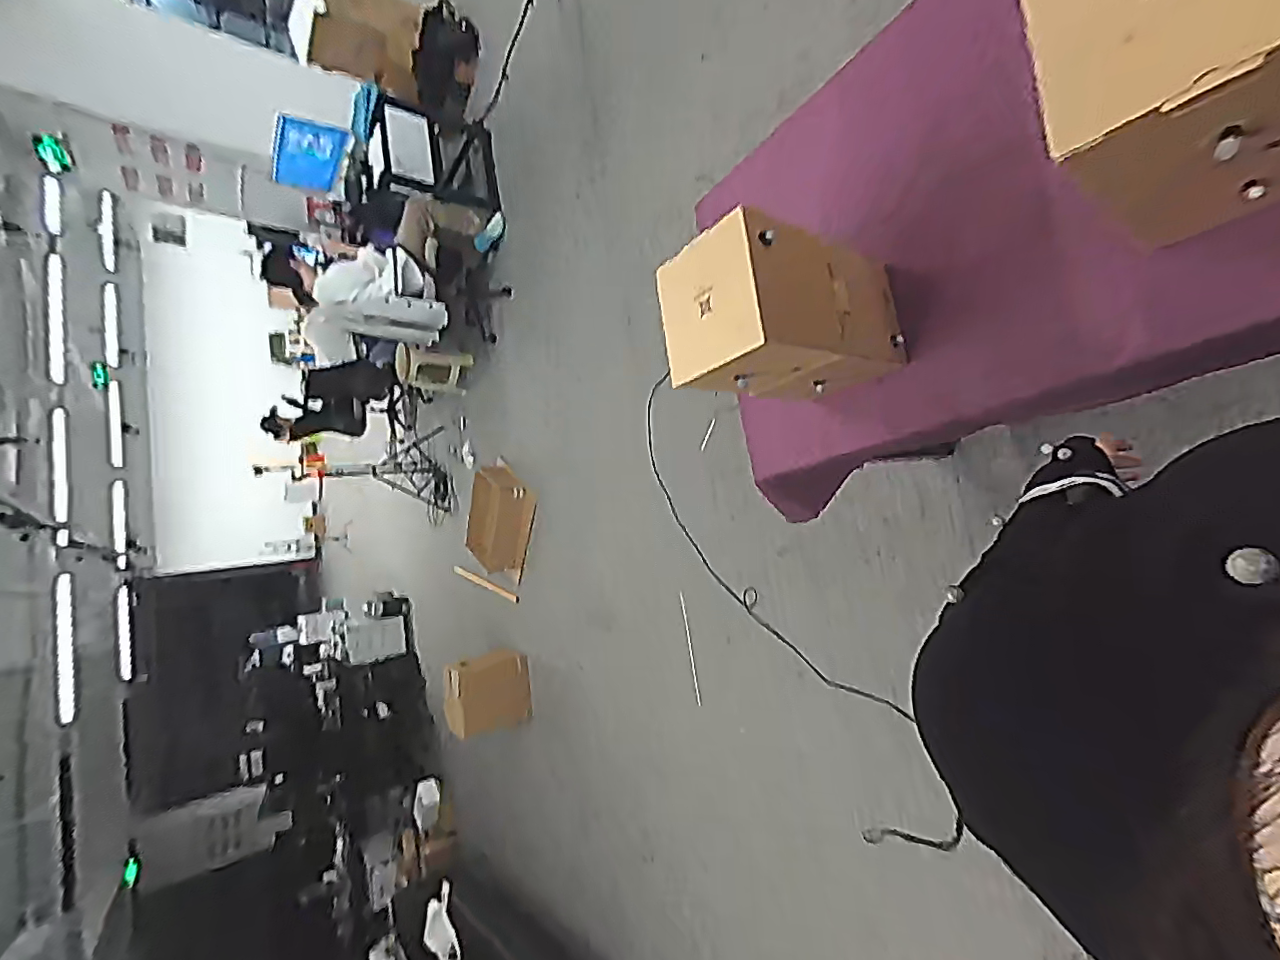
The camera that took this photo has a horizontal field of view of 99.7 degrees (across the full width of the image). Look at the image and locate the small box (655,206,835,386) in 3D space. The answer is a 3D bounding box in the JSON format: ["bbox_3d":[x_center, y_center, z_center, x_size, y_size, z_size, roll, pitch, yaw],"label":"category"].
[{"bbox_3d":[0.145,-0.234,0.744,0.168,0.176,0.179,-17,78,51],"label":"small box"}]

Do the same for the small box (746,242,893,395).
[{"bbox_3d":[0.271,-0.238,0.846,0.179,0.176,0.168,-19,78,51],"label":"small box"}]

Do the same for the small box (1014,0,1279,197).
[{"bbox_3d":[0.408,-0.339,0.401,0.168,0.176,0.179,-12,84,52],"label":"small box"}]
